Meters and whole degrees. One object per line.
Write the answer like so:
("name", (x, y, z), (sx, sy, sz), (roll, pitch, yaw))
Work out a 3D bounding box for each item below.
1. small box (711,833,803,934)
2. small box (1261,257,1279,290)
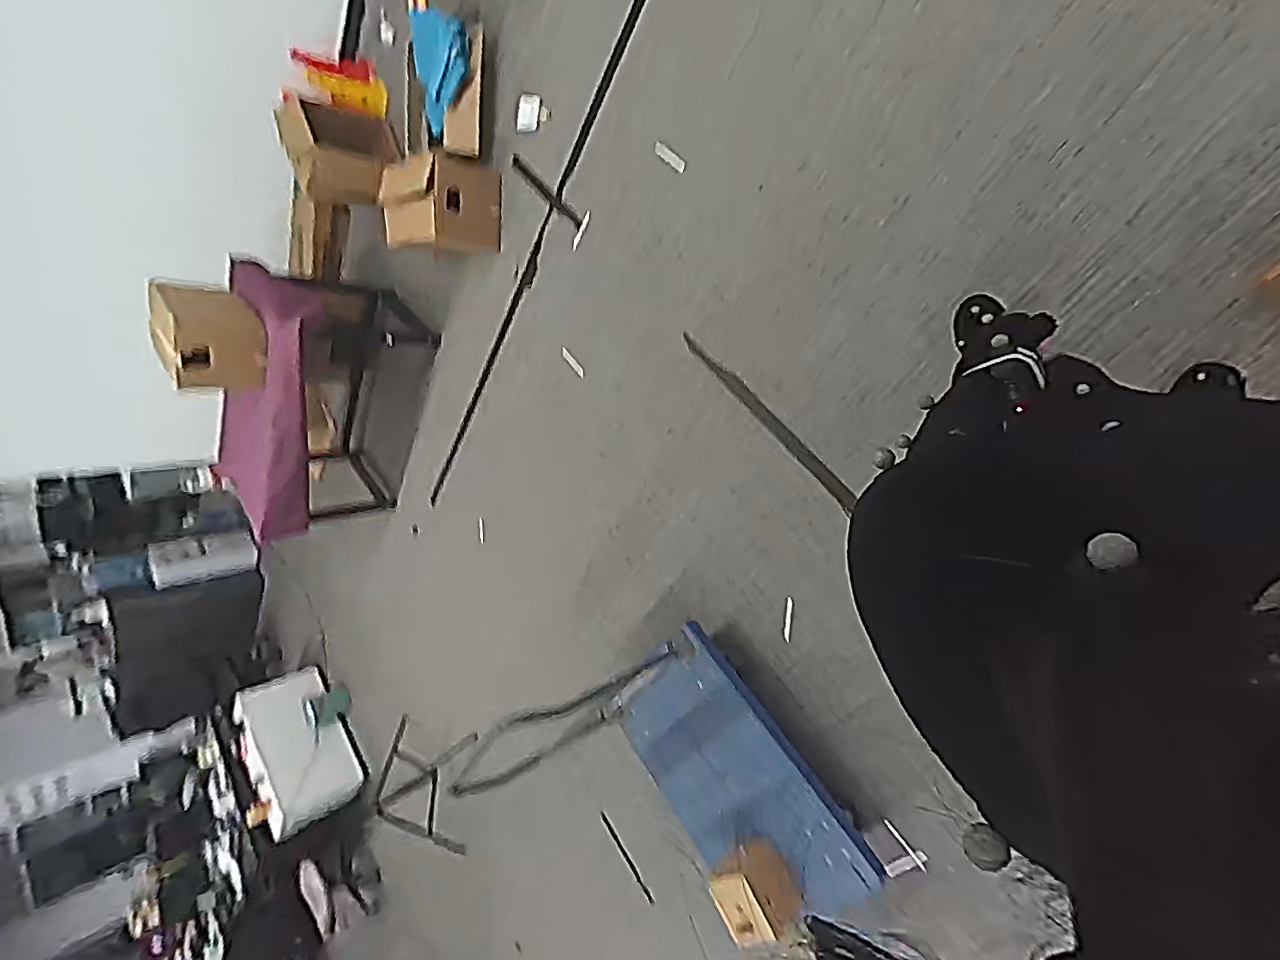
("small box", (0.352, 1.196, 1.607), (0.168, 0.176, 0.179), (-43, 68, 37))
("small box", (1.181, -0.363, 0.865), (0.179, 0.176, 0.168), (48, 124, 24))
